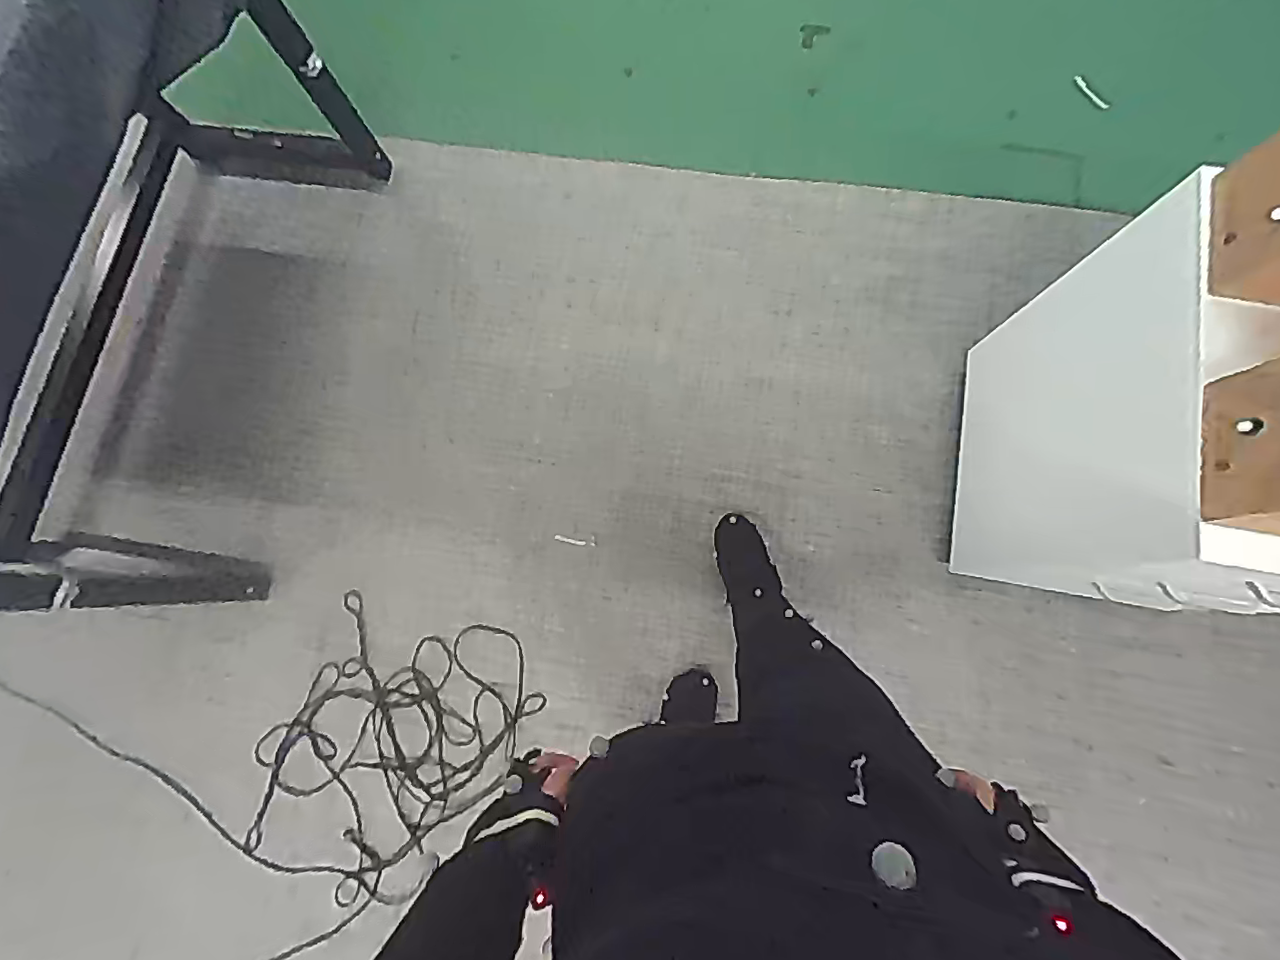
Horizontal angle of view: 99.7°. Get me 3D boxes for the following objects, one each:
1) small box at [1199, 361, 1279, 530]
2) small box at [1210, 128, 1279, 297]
[{"bbox_3d":[0.719,-0.036,0.527,0.179,0.176,0.168,11,80,5],"label":"small box"},{"bbox_3d":[0.775,-0.302,0.575,0.179,0.176,0.168,11,82,4],"label":"small box"}]
